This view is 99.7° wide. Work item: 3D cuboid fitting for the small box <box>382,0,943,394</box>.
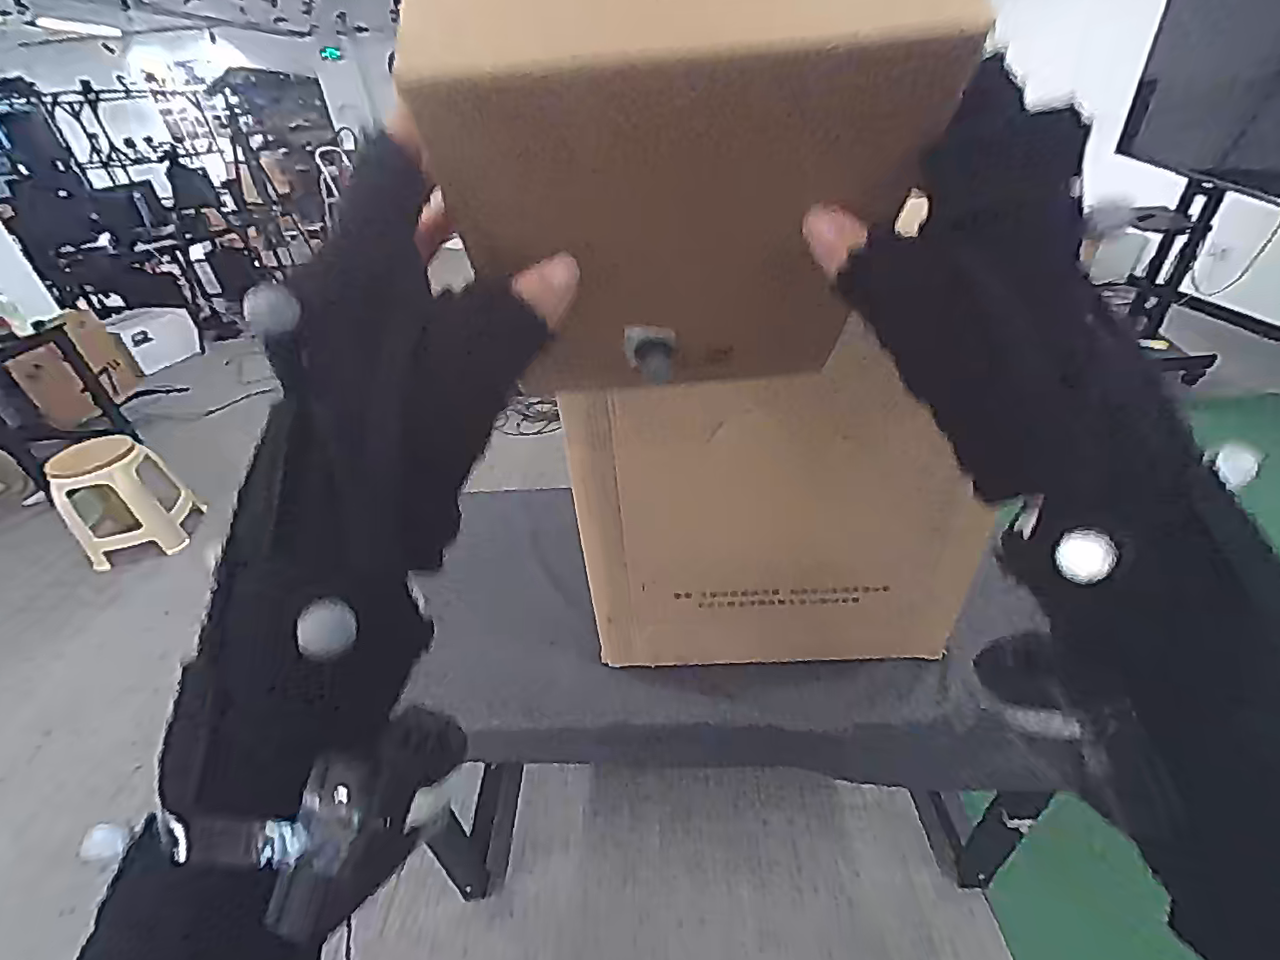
[{"bbox_3d":[0.002,-0.165,0.262,0.168,0.176,0.179,-6,67,0],"label":"small box"}]
